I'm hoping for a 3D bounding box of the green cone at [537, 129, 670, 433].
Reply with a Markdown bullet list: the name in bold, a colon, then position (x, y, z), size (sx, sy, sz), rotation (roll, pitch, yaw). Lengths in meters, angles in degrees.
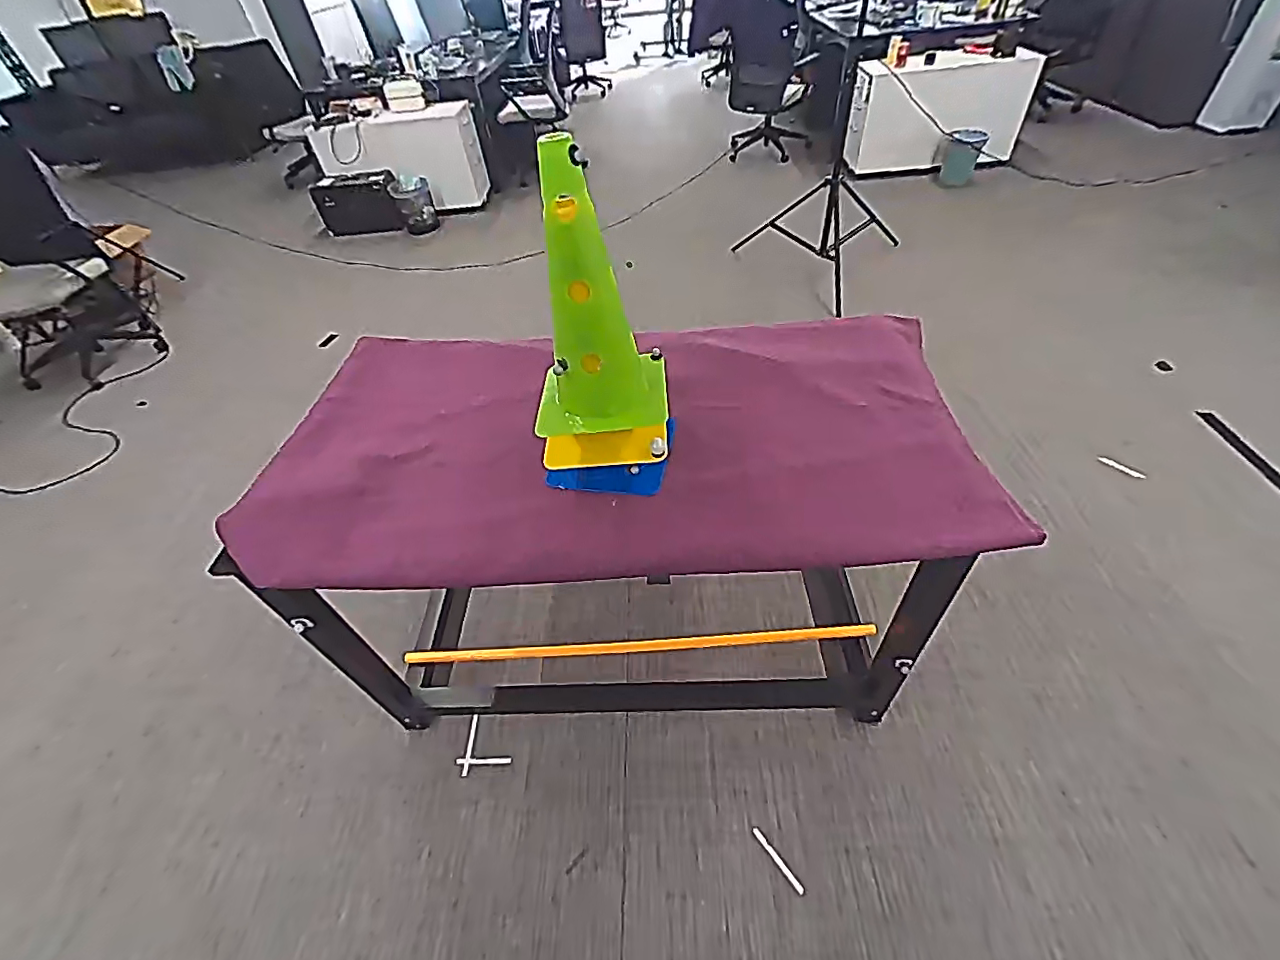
- **green cone**: position (-0.079, -0.267, 0.739), size (0.200, 0.368, 0.202), rotation (-6, 44, 4)
